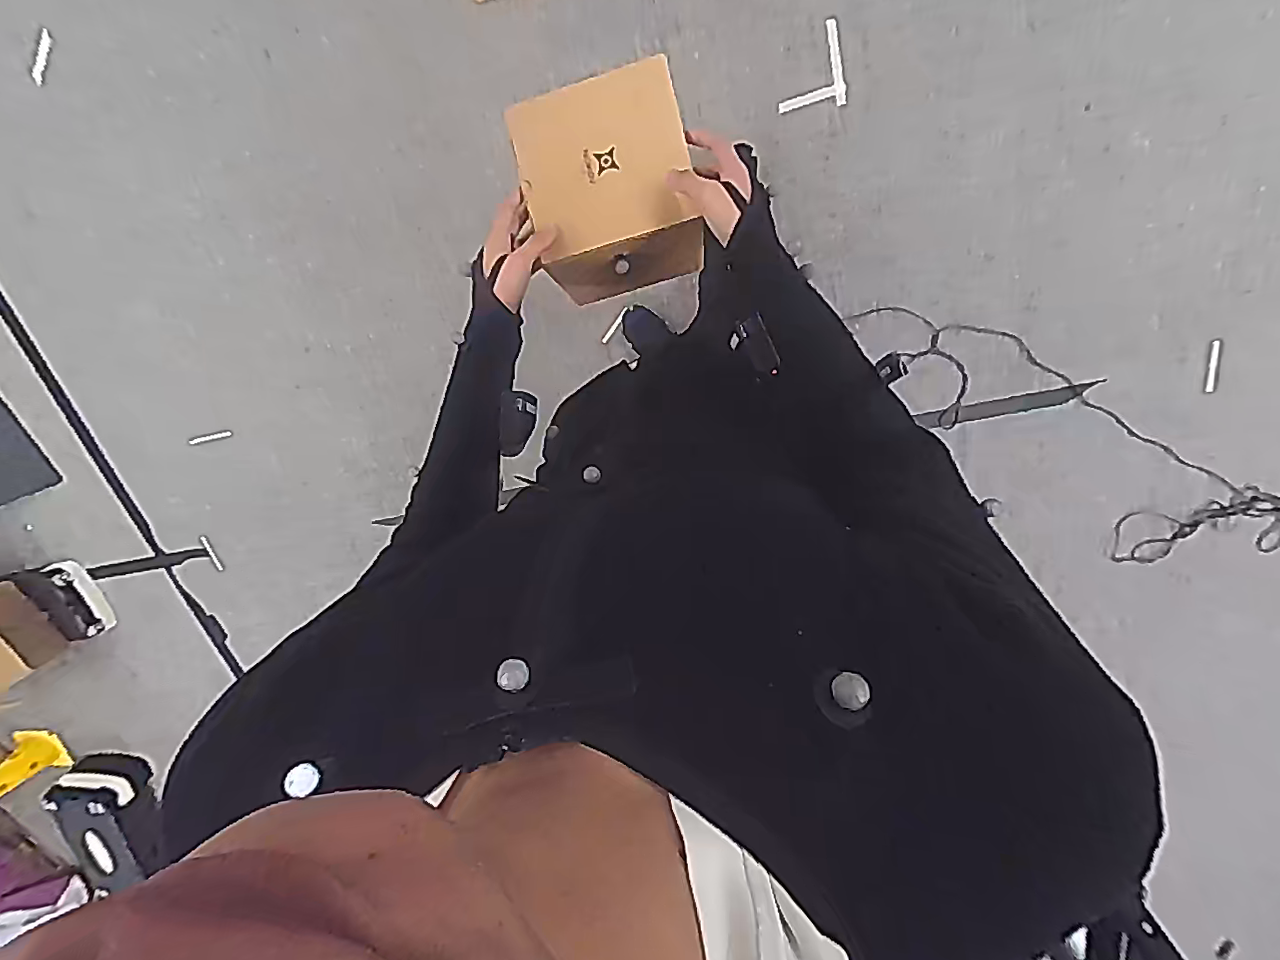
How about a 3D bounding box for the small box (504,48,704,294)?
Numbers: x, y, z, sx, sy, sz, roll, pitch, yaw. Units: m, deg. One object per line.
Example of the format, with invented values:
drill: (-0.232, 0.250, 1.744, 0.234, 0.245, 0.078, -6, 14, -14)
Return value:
small box: (-0.029, -0.335, 0.626, 0.179, 0.176, 0.168, -14, 93, 8)
